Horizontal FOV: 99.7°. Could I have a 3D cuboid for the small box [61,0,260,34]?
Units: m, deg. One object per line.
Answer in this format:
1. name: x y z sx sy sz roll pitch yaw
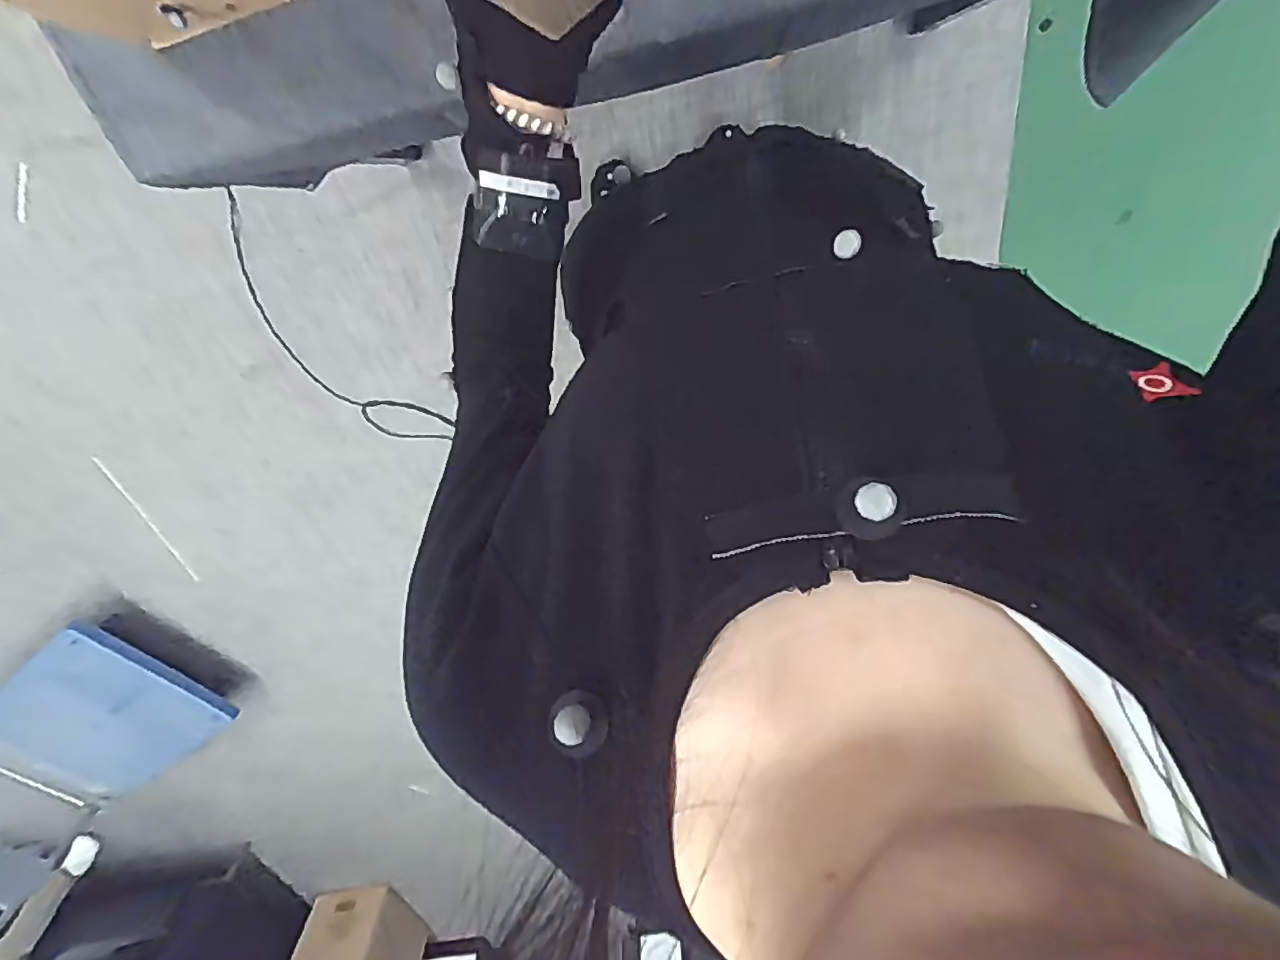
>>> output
1. small box: -0.418 -0.479 0.404 0.168 0.176 0.179 -14 120 6
